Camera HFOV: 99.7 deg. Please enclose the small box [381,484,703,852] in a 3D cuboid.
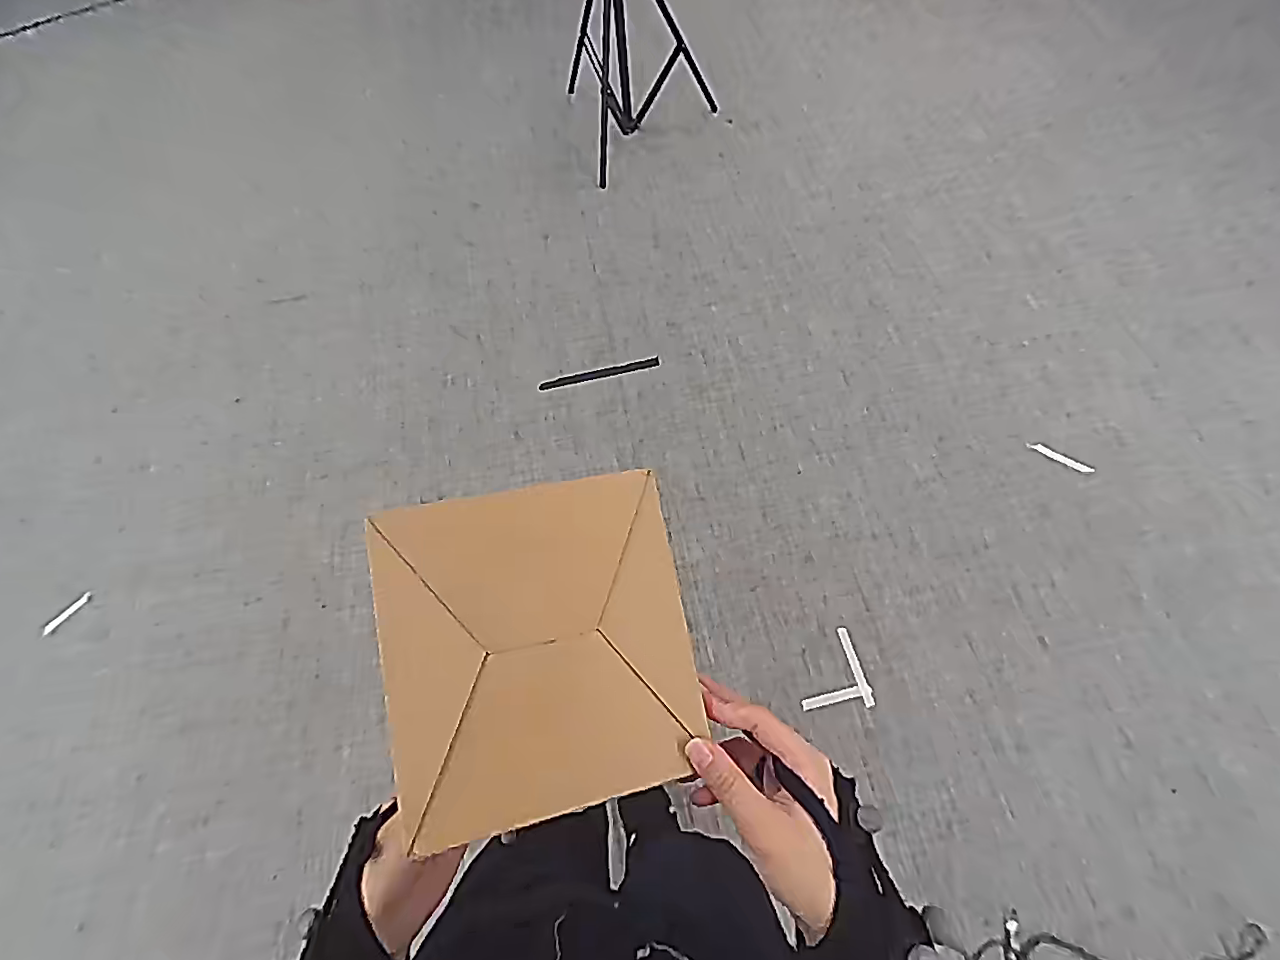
[{"bbox_3d":[-0.069,0.110,0.377,0.168,0.176,0.179,-9,78,-14],"label":"small box"}]
